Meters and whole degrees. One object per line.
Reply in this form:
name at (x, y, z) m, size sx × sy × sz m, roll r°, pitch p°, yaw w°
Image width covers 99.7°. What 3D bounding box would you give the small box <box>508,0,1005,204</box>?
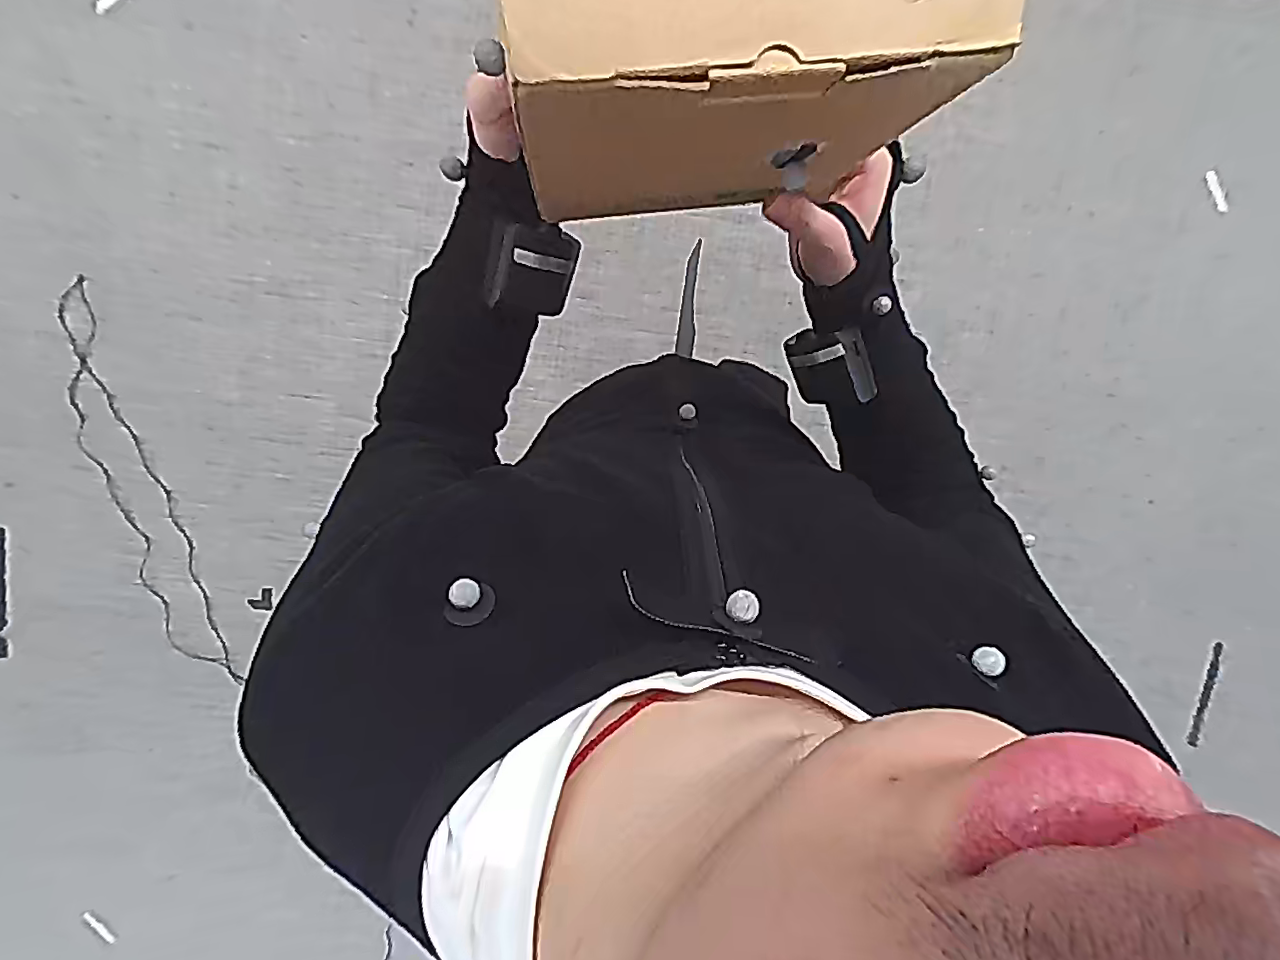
small box at (0.024, -0.234, 0.234) m, size 0.168 × 0.176 × 0.179 m, roll -9°, pitch 104°, yaw -6°
